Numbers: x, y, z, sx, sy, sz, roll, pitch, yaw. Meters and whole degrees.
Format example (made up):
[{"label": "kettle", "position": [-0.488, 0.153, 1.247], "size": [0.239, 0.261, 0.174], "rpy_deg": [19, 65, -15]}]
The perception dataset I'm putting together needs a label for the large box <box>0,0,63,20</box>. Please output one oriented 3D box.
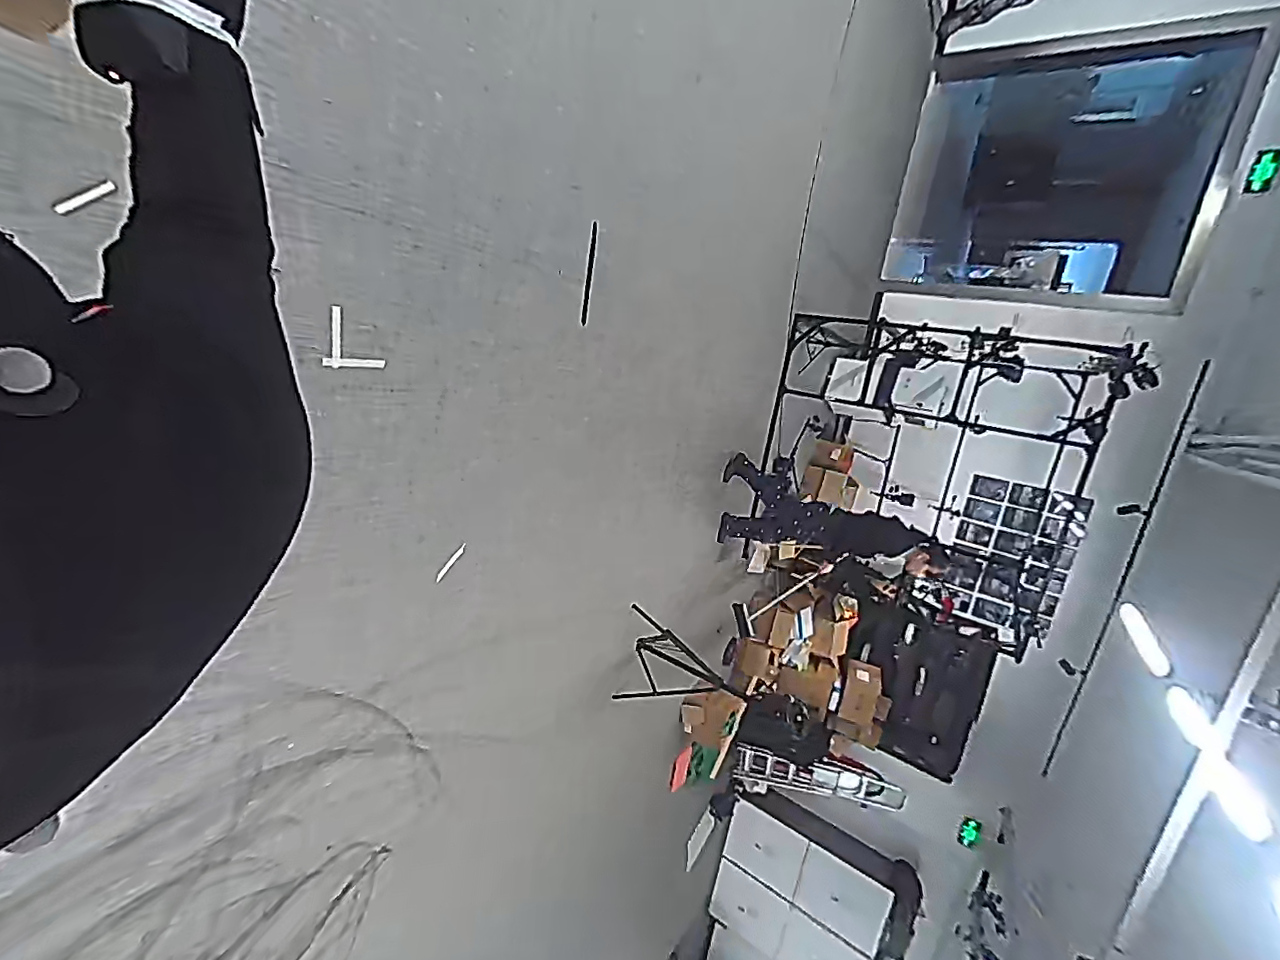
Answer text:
[{"label": "large box", "position": [-0.545, -0.514, 0.241], "size": [0.408, 0.320, 0.320], "rpy_deg": [-9, 116, -55]}]
